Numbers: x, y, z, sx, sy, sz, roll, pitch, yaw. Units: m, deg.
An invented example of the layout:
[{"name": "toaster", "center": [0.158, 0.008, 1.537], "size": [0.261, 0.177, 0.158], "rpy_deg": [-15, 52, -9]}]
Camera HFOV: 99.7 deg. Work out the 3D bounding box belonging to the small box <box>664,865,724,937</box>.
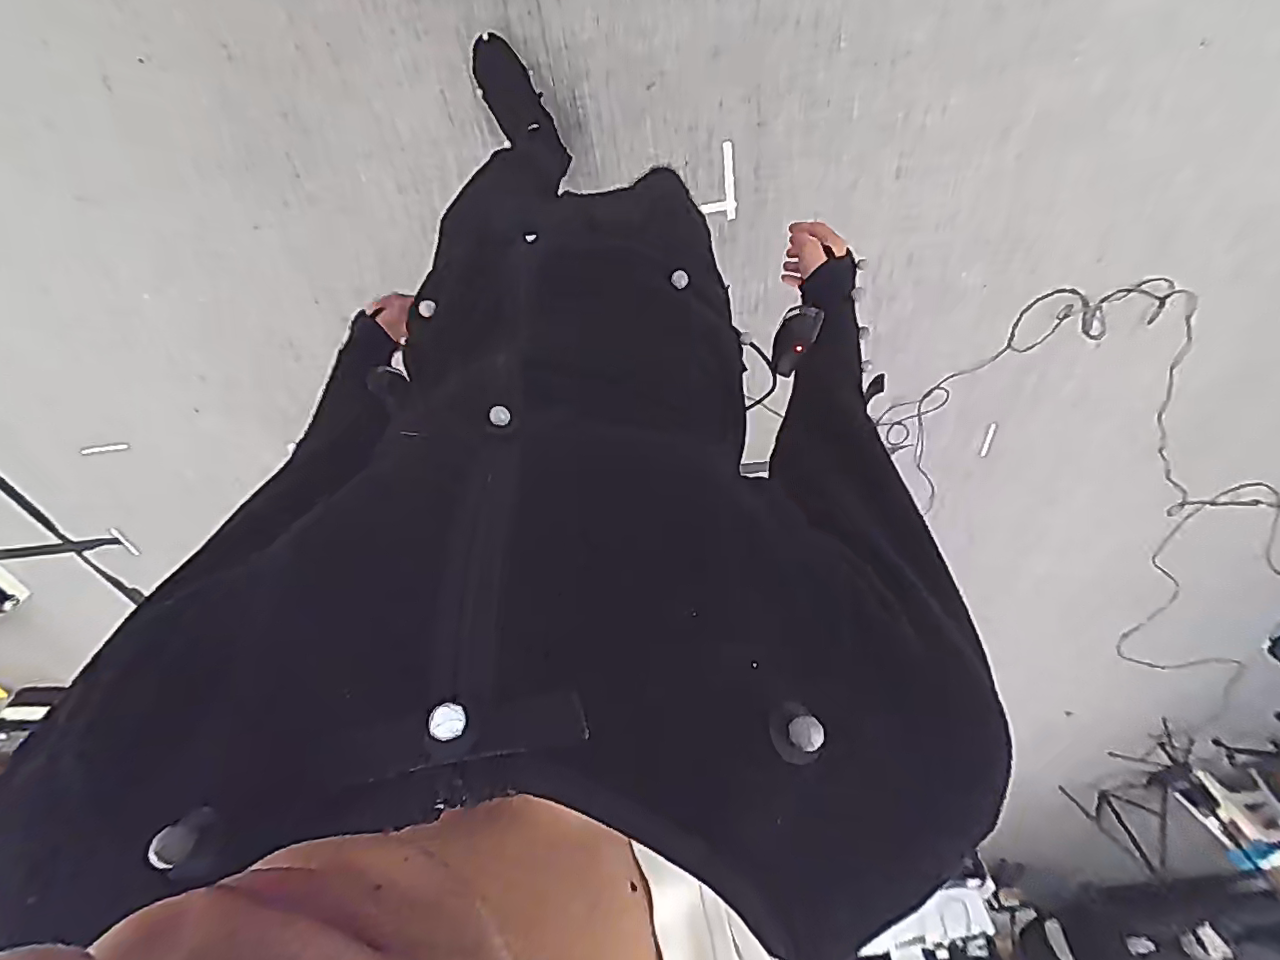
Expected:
[{"name": "small box", "center": [0.185, 1.451, 1.867], "size": [0.179, 0.176, 0.168], "rpy_deg": [-9, 131, 4]}]
